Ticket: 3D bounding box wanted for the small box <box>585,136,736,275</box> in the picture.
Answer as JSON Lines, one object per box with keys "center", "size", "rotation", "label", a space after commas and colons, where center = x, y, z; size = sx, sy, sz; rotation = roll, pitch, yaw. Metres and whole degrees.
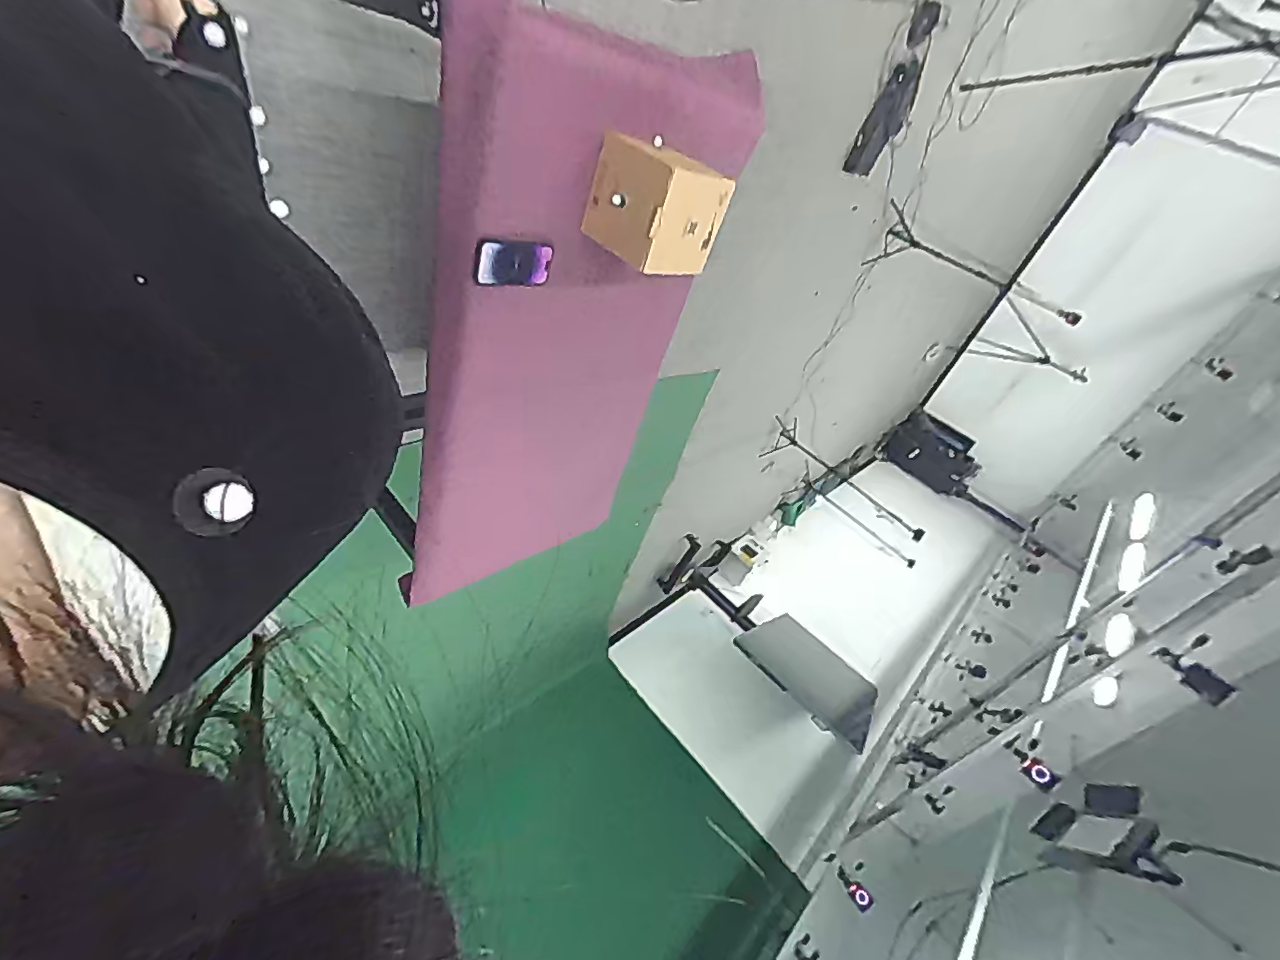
{"center": [0.030, -0.480, 0.953], "size": [0.179, 0.176, 0.168], "rotation": [-19, 143, -44], "label": "small box"}
